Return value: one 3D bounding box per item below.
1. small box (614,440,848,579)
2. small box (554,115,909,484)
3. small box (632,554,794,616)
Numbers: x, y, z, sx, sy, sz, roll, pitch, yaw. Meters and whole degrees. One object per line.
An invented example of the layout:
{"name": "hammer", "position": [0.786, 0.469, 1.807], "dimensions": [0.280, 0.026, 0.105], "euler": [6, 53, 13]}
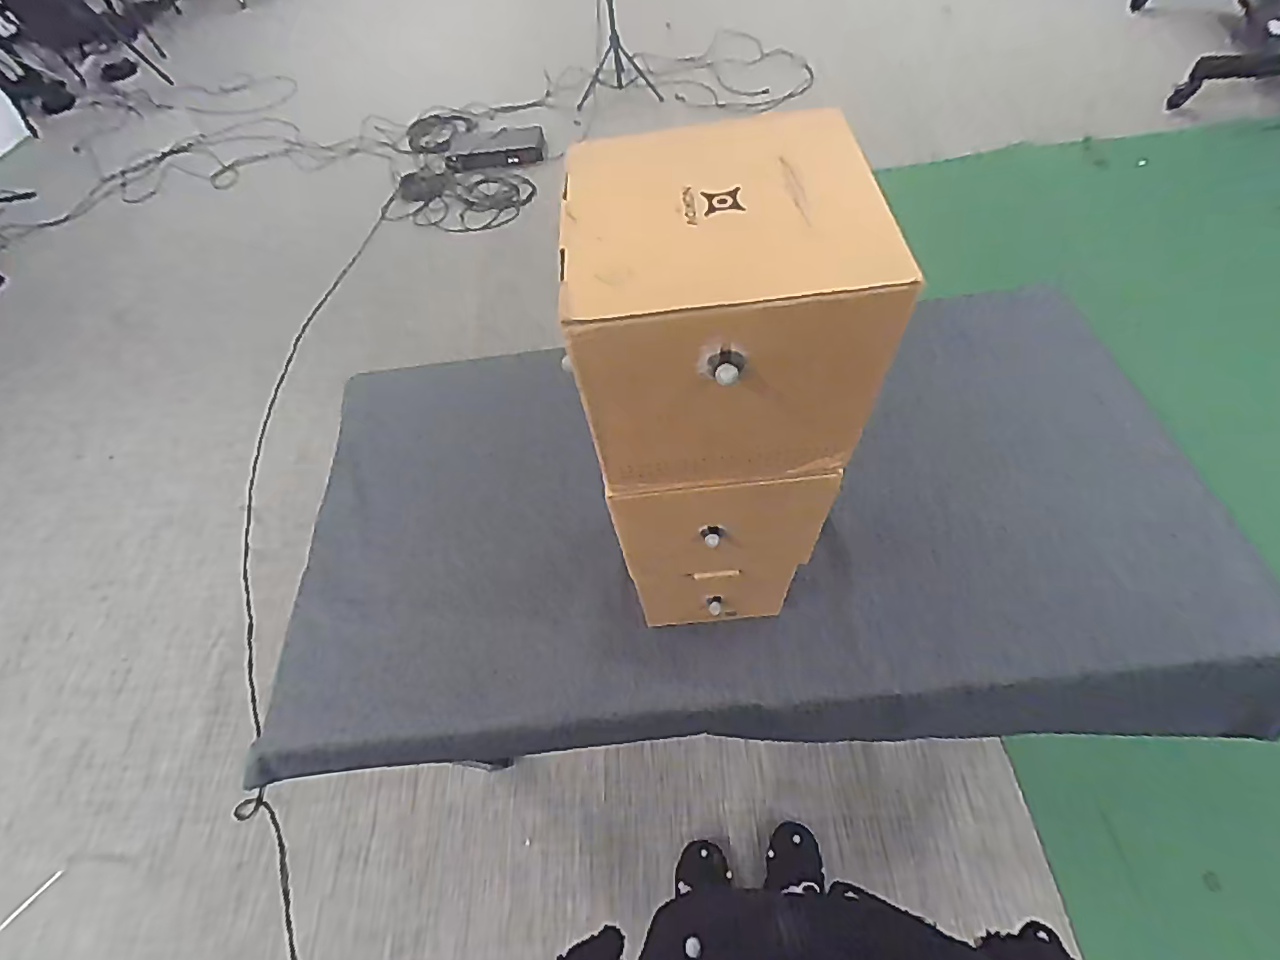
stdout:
{"name": "small box", "position": [0.066, -0.020, 0.505], "dimensions": [0.179, 0.176, 0.168], "euler": [-8, 58, 1]}
{"name": "small box", "position": [0.048, -0.109, 0.370], "dimensions": [0.179, 0.176, 0.168], "euler": [-6, 59, 3]}
{"name": "small box", "position": [0.078, 0.057, 0.650], "dimensions": [0.168, 0.176, 0.179], "euler": [-7, 59, 3]}
